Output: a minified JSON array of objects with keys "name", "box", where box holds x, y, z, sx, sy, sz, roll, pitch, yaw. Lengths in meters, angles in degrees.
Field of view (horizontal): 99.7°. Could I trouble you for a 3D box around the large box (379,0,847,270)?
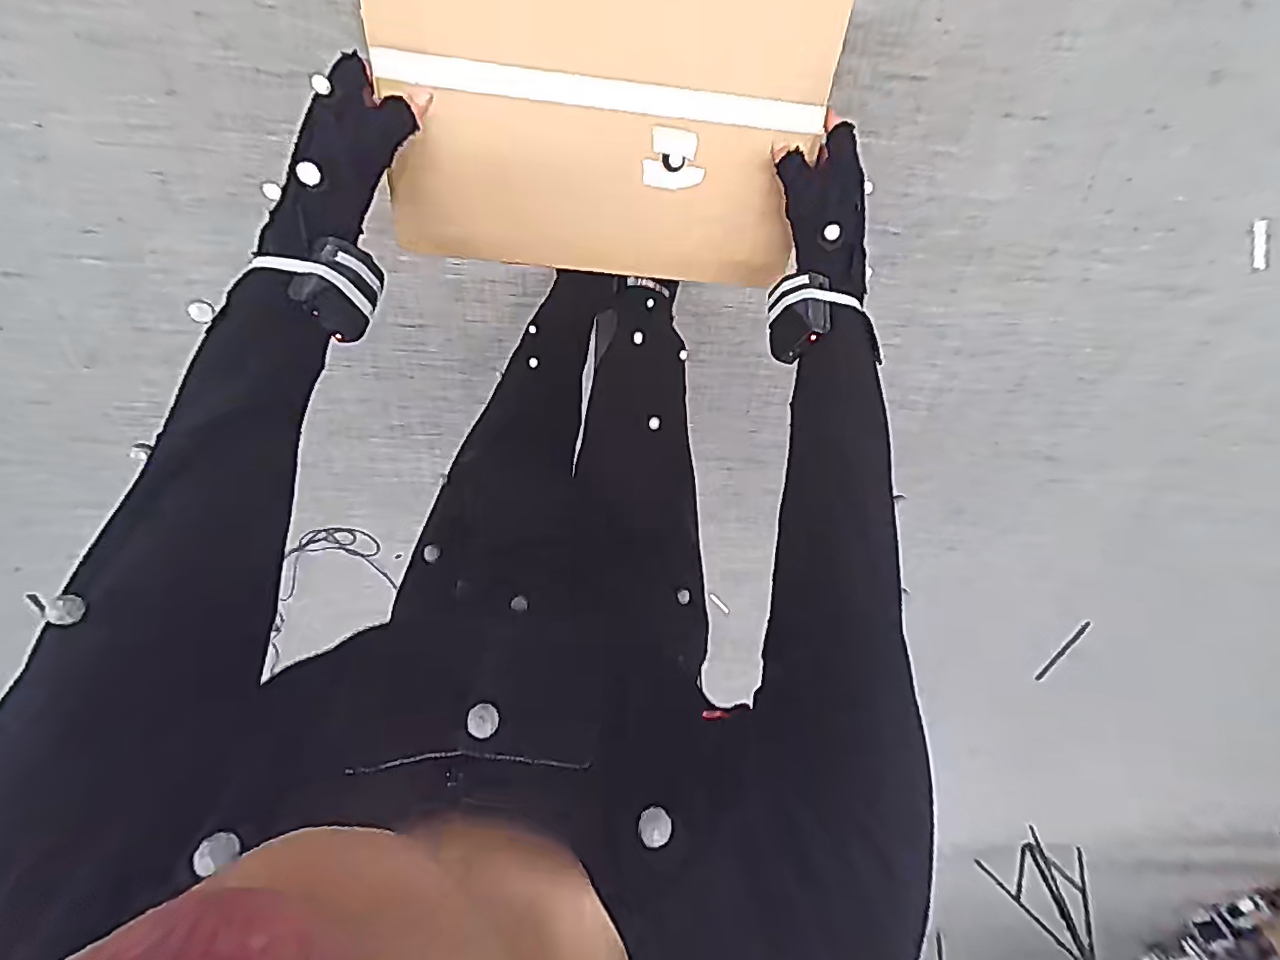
[{"name":"large box","box":[-0.035,-0.449,0.612,0.408,0.320,0.320,3,126,-6]}]
